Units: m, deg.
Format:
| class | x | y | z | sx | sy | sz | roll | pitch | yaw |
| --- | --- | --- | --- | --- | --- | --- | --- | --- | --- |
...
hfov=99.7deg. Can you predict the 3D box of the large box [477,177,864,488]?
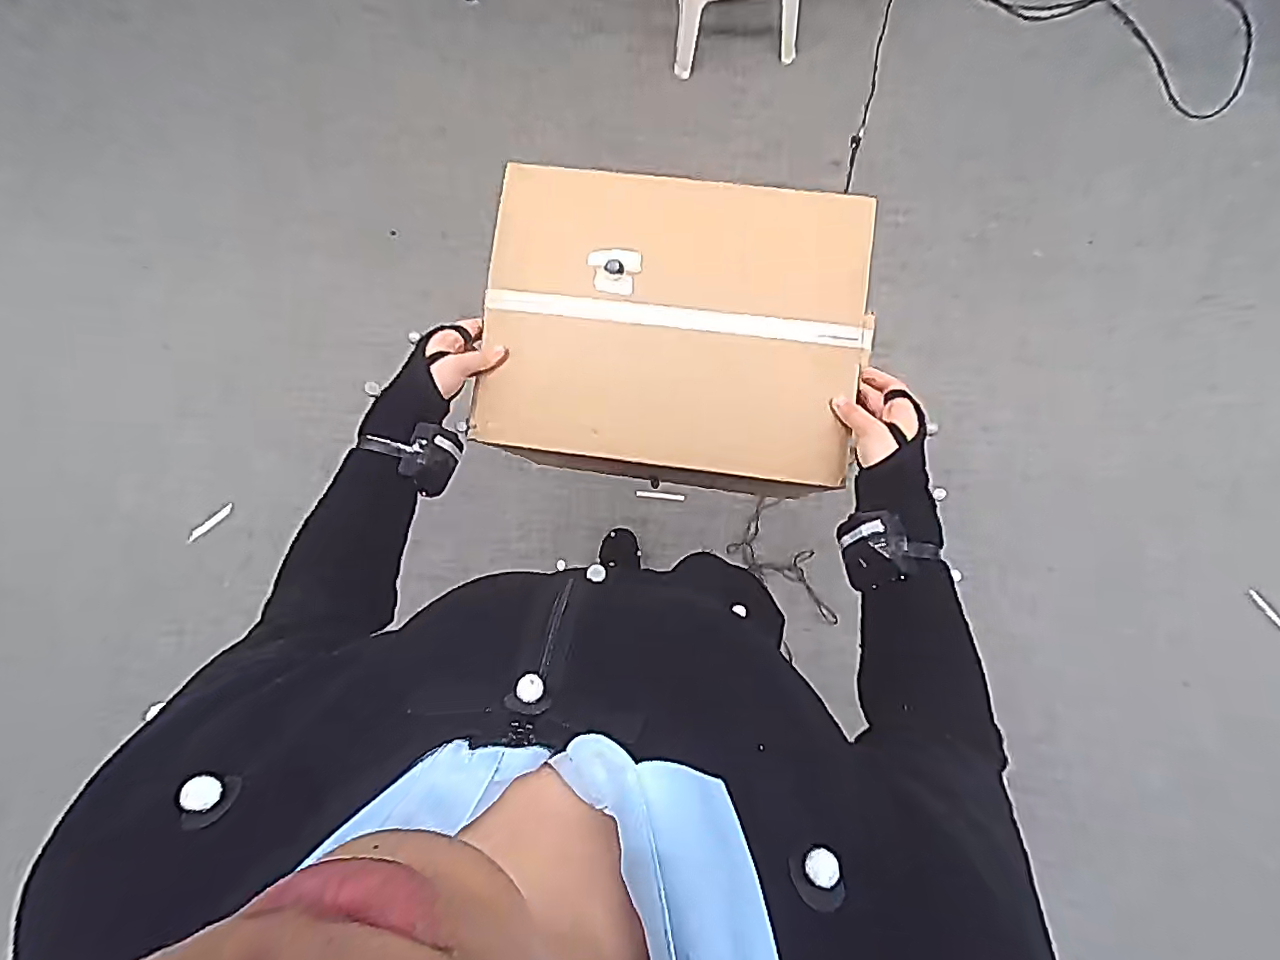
| class | x | y | z | sx | sy | sz | roll | pitch | yaw |
| --- | --- | --- | --- | --- | --- | --- | --- | --- | --- |
| large box | 0.045 | -0.164 | 0.737 | 0.408 | 0.320 | 0.320 | 7 | 85 | 5 |
